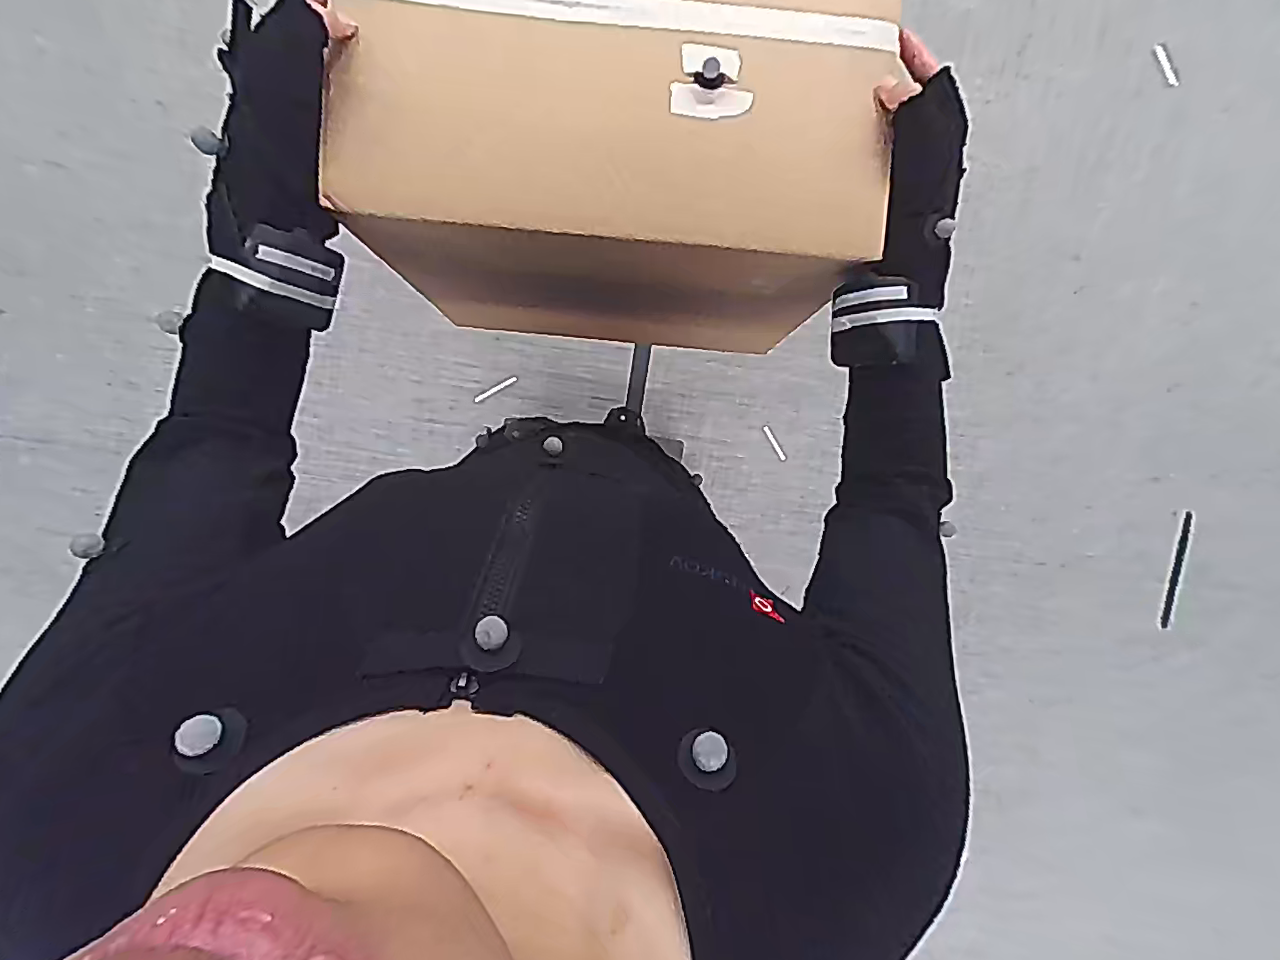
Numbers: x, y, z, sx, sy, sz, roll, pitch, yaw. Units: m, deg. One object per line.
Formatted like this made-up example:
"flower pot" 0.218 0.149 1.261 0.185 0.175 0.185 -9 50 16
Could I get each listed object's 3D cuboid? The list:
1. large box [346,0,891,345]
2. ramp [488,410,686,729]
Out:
"large box" -0.018 -0.338 0.551 0.408 0.320 0.320 4 91 -3
"ramp" -0.178 0.310 1.605 0.509 0.206 0.991 6 97 -4
